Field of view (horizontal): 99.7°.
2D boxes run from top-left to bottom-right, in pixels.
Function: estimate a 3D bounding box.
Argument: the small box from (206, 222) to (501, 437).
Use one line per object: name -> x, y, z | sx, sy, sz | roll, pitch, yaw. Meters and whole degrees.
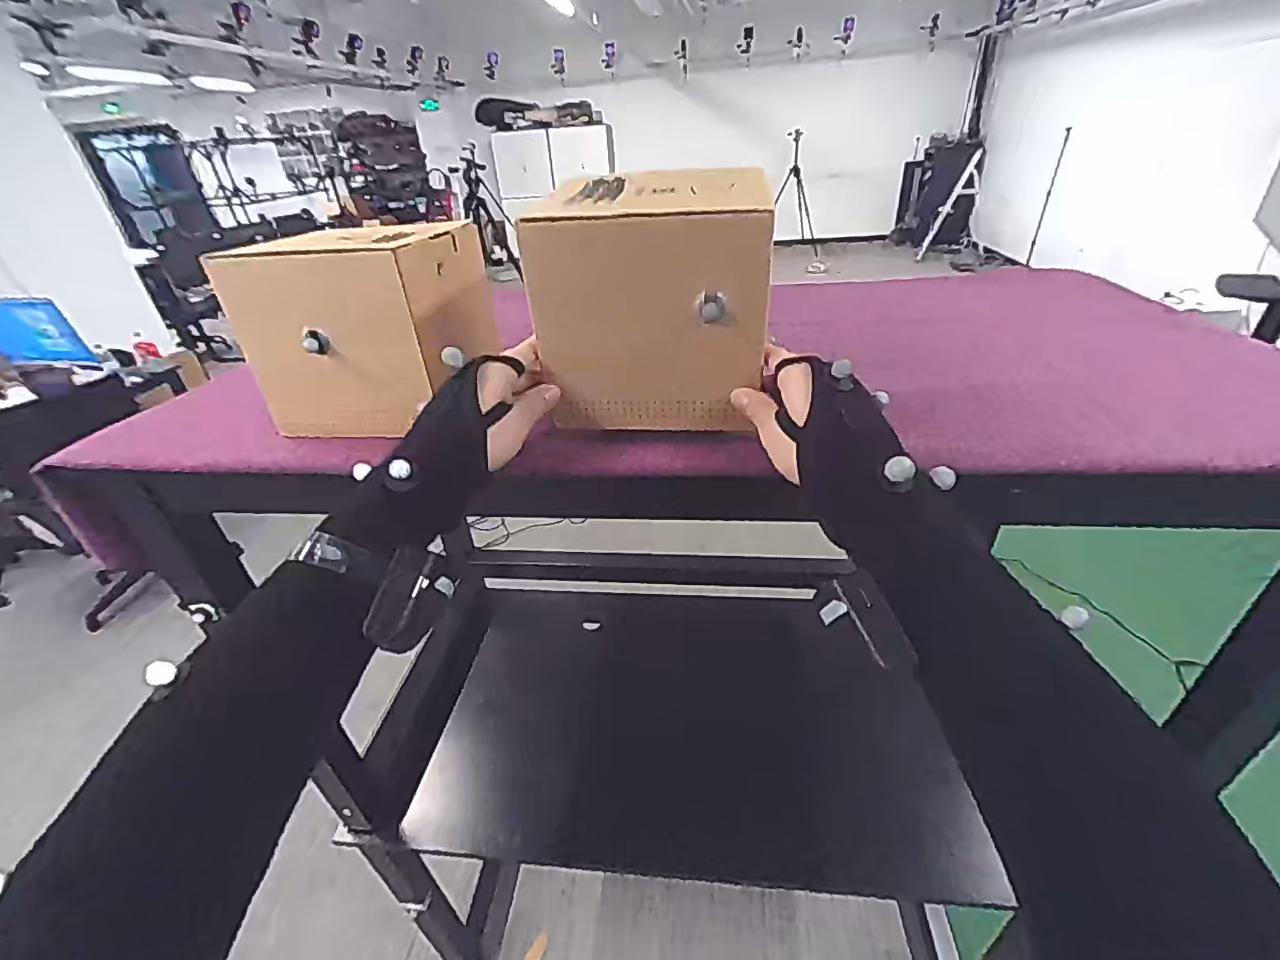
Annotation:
small box -> -0.257, -0.150, 0.539 | 0.179, 0.176, 0.168 | 1, 32, 9
